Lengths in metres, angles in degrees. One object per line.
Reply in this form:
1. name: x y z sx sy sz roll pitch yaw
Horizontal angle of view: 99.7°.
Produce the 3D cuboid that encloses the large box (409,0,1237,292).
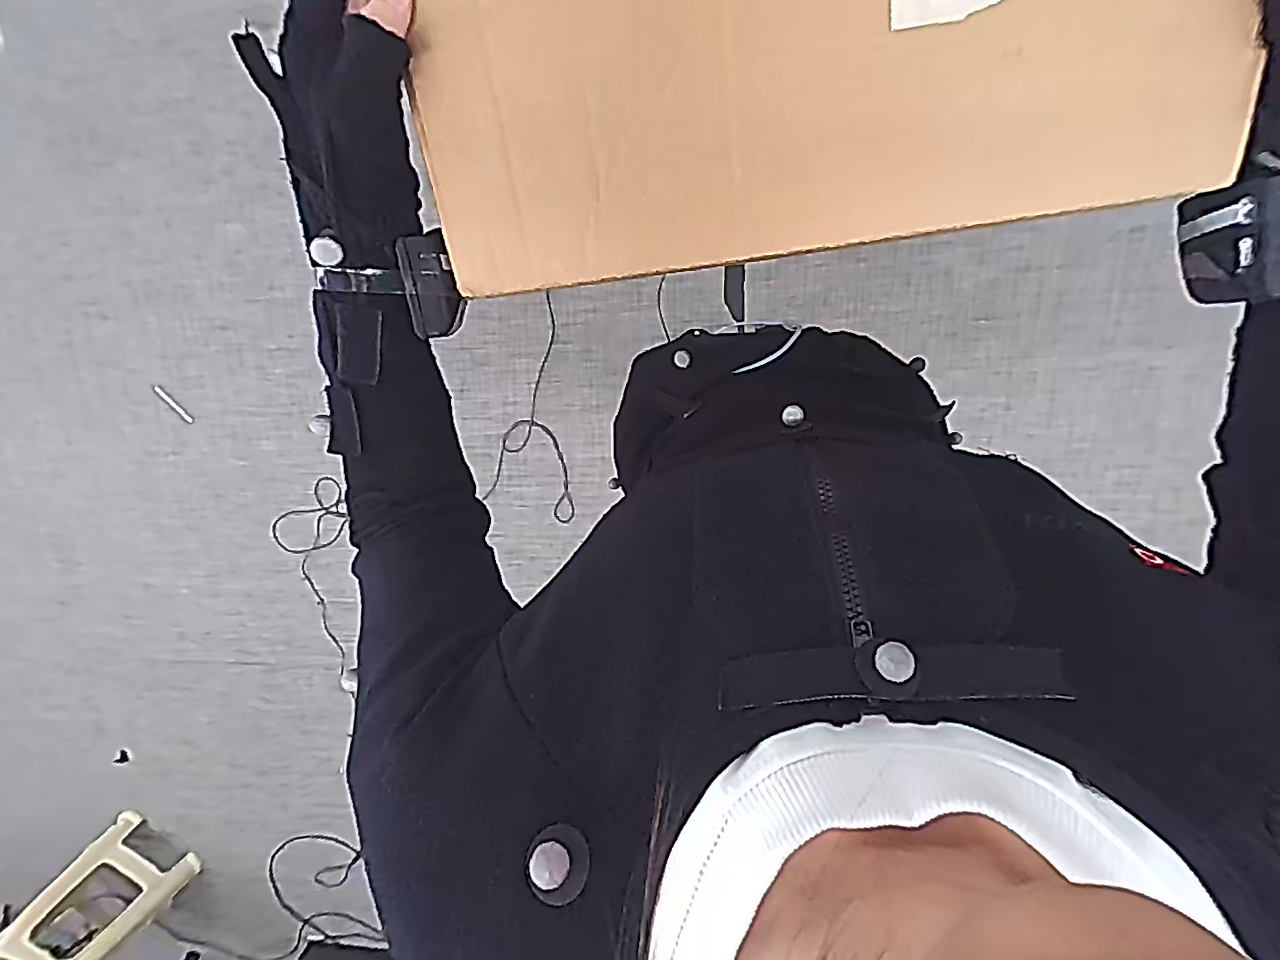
1. large box: 0.084 -0.333 0.392 0.408 0.320 0.320 -6 112 8
